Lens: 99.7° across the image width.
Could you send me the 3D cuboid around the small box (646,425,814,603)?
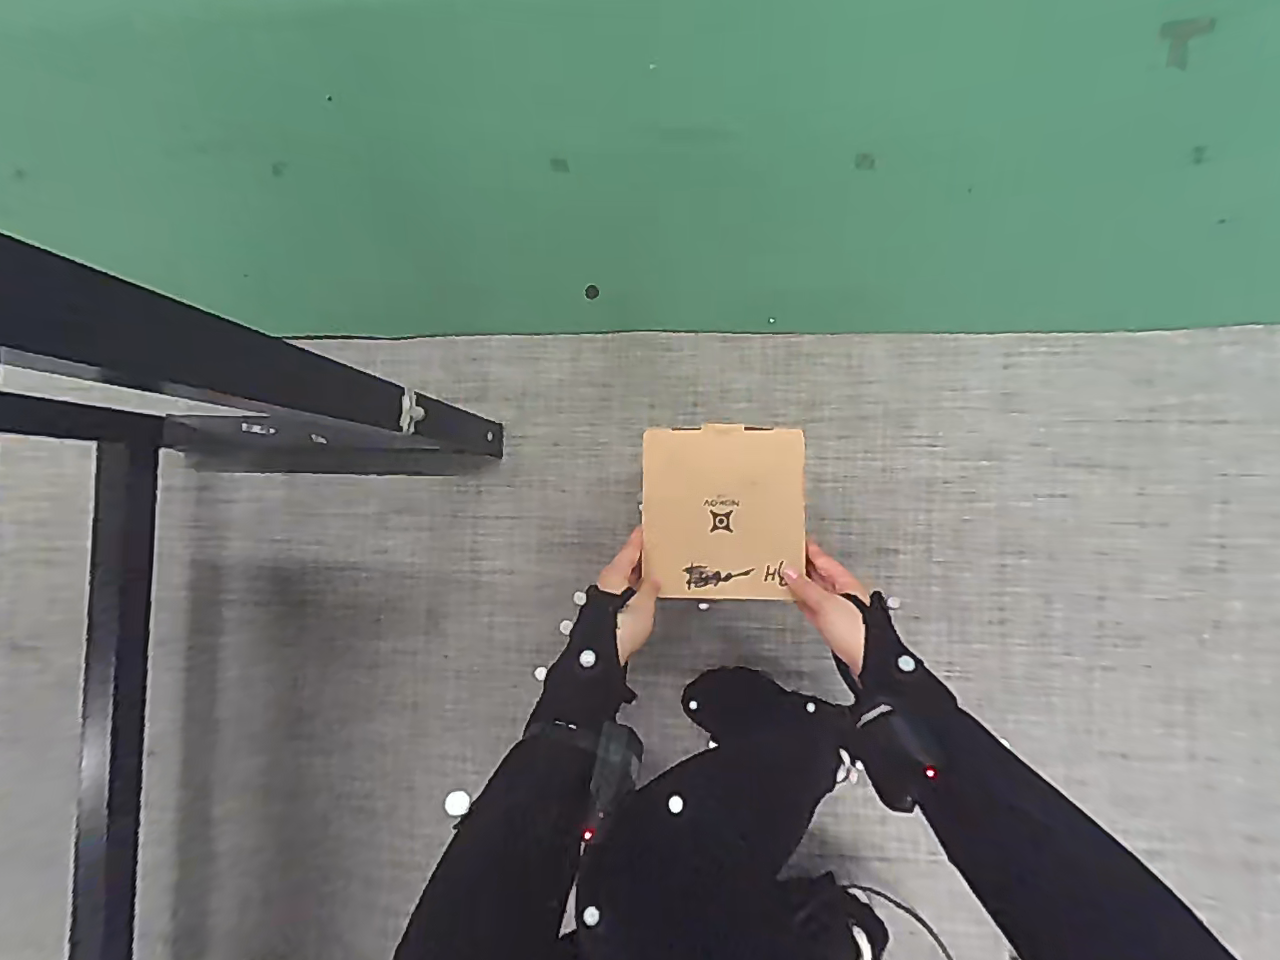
[{"bbox_3d":[0.096,0.038,0.624,0.168,0.176,0.179,2,87,4],"label":"small box"}]
